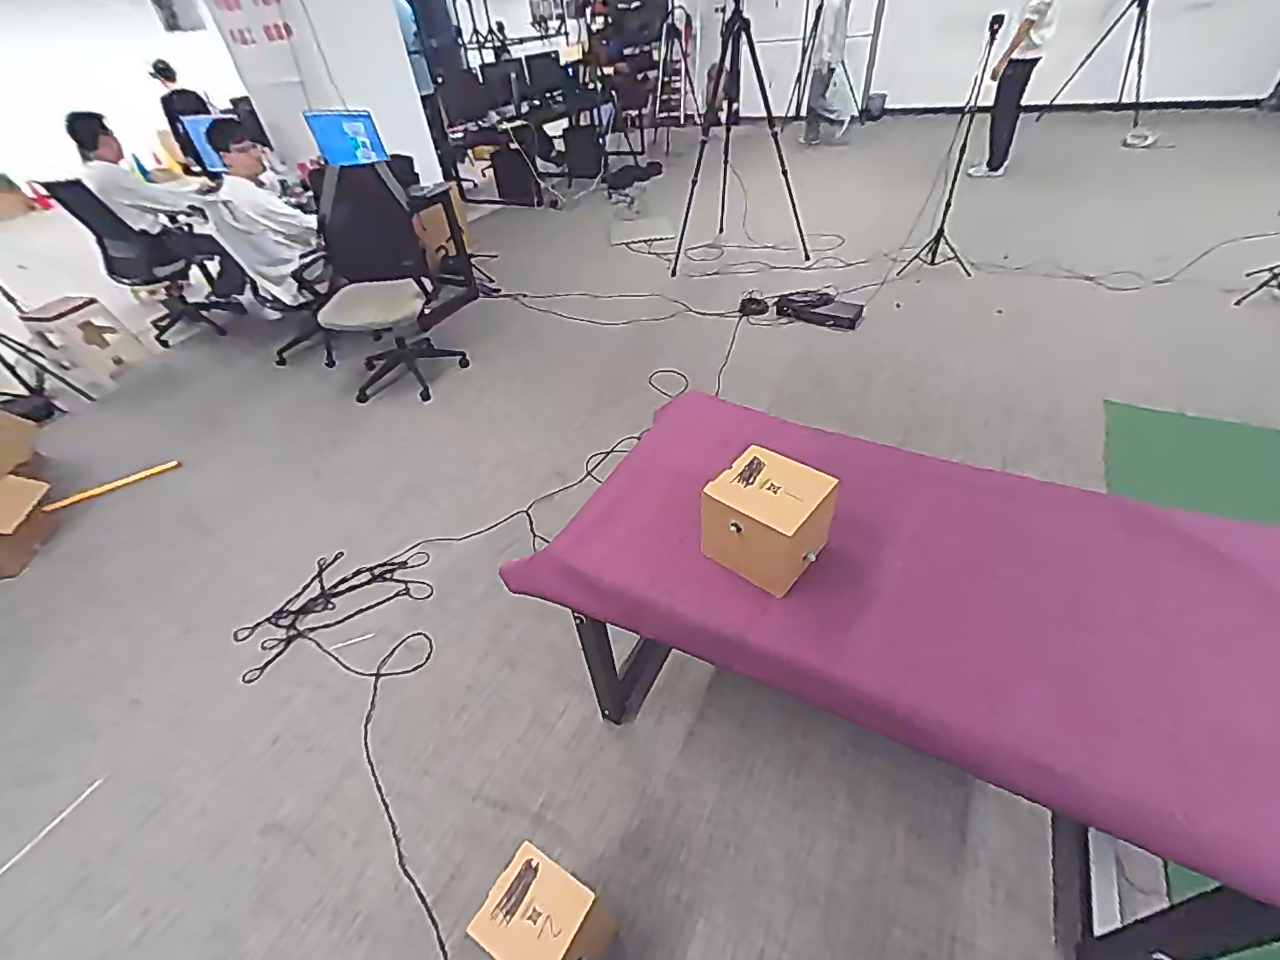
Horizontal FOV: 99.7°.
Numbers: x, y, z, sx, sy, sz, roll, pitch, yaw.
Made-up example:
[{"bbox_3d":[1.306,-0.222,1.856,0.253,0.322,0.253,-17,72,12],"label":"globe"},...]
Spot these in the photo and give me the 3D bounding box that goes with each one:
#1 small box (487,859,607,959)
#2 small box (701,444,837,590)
[{"bbox_3d":[-0.184,0.951,1.133,0.168,0.176,0.179,20,49,26],"label":"small box"},{"bbox_3d":[0.226,0.067,0.982,0.179,0.176,0.168,29,52,32],"label":"small box"}]
